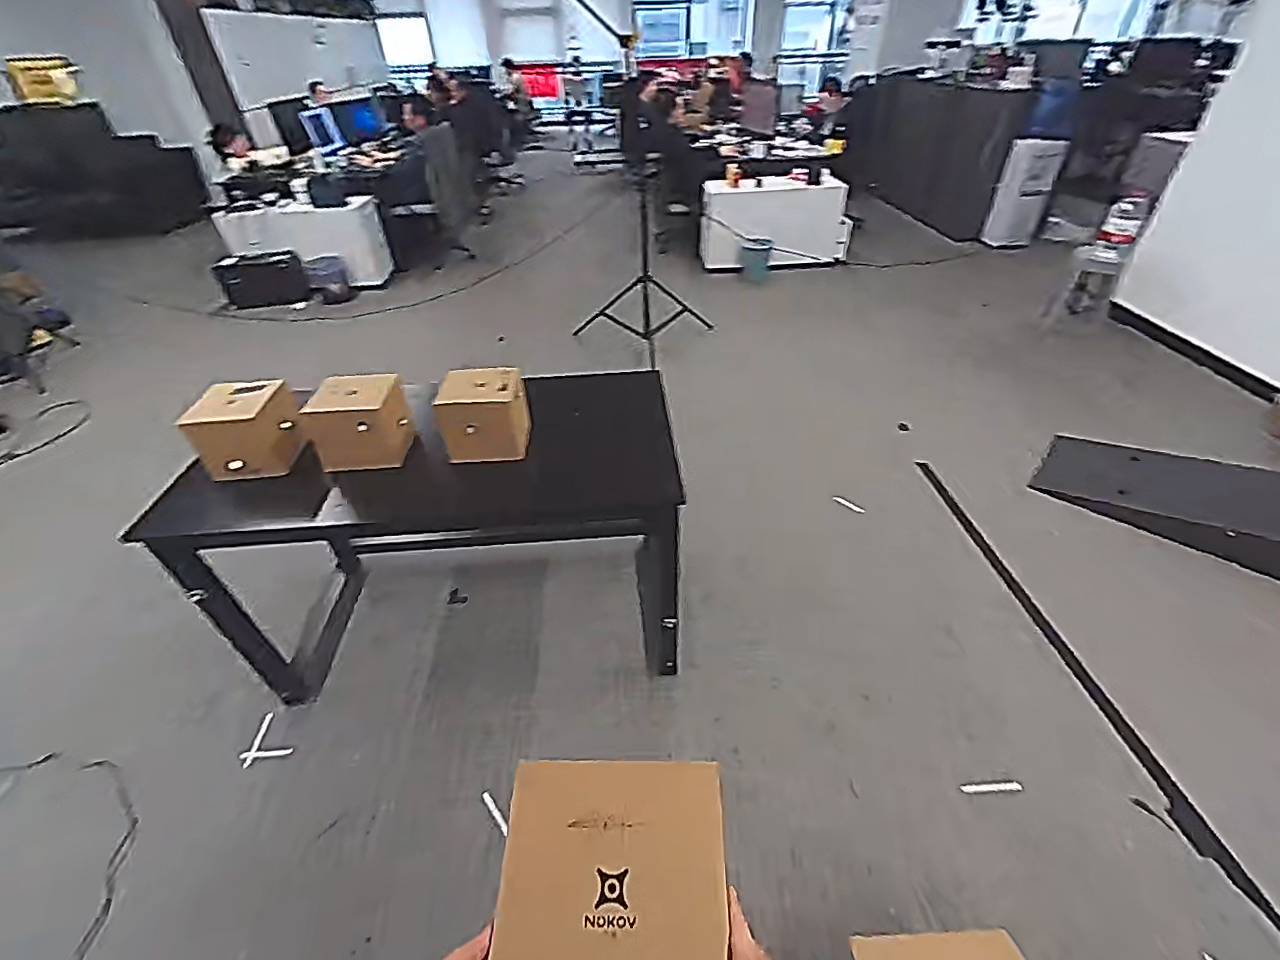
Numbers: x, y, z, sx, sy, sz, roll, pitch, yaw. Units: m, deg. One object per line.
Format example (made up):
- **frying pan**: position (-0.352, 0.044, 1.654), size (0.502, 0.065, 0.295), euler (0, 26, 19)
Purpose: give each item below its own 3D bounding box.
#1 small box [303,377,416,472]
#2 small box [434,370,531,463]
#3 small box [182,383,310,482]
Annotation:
- **small box**: position (-0.670, -0.134, 1.319), size (0.179, 0.176, 0.168), euler (-4, 39, -3)
- **small box**: position (-0.378, -0.153, 1.331), size (0.179, 0.176, 0.168), euler (-3, 39, 0)
- **small box**: position (-0.936, -0.116, 1.308), size (0.168, 0.176, 0.179), euler (-5, 40, -3)
